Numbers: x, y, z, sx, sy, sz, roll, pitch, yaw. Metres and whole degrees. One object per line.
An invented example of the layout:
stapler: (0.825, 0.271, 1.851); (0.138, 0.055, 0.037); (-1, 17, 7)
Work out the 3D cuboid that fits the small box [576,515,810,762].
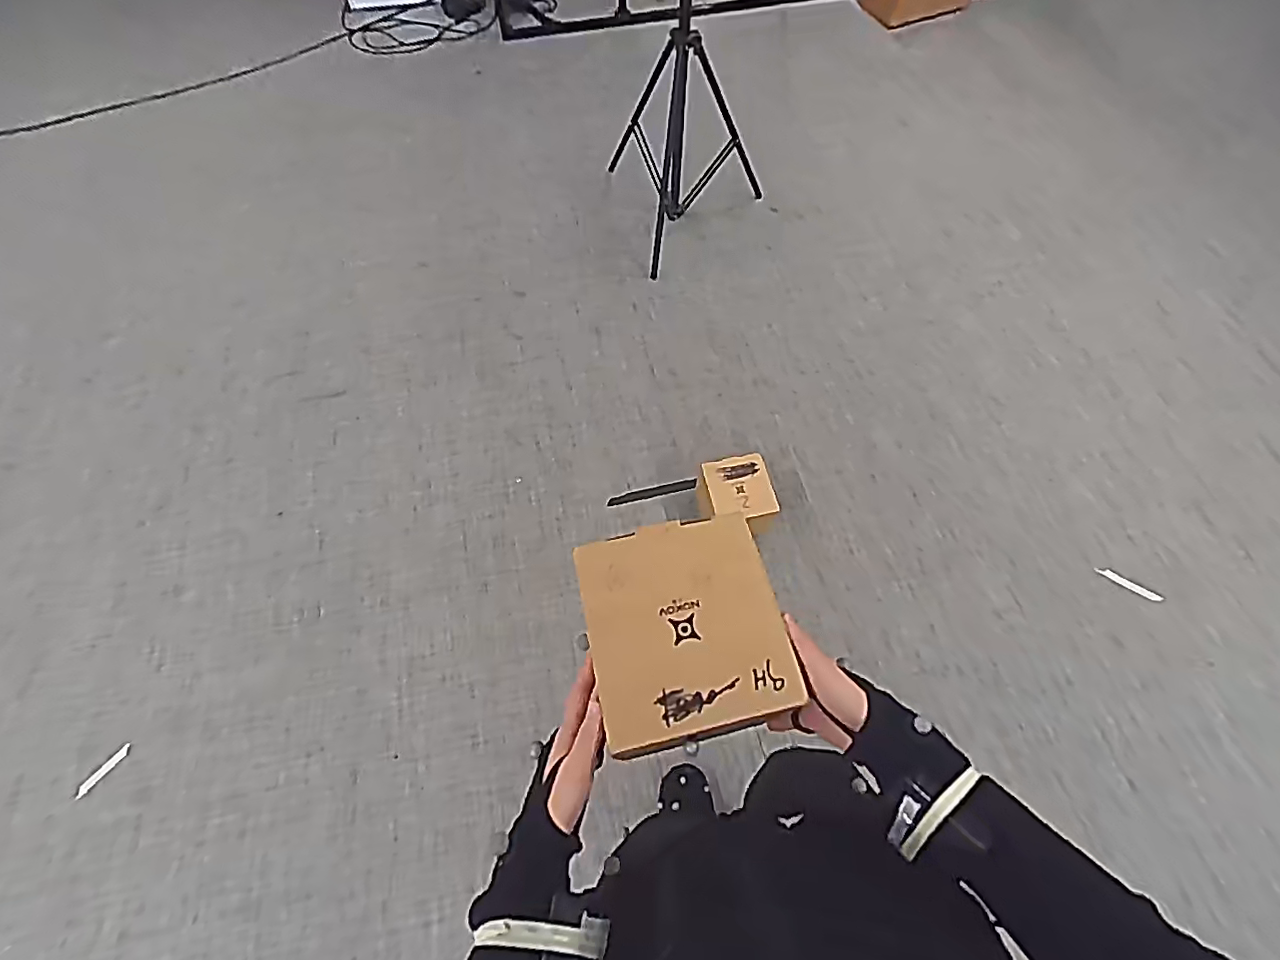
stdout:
small box: (0.037, 0.159, 0.527); (0.168, 0.176, 0.179); (-12, 62, -7)
